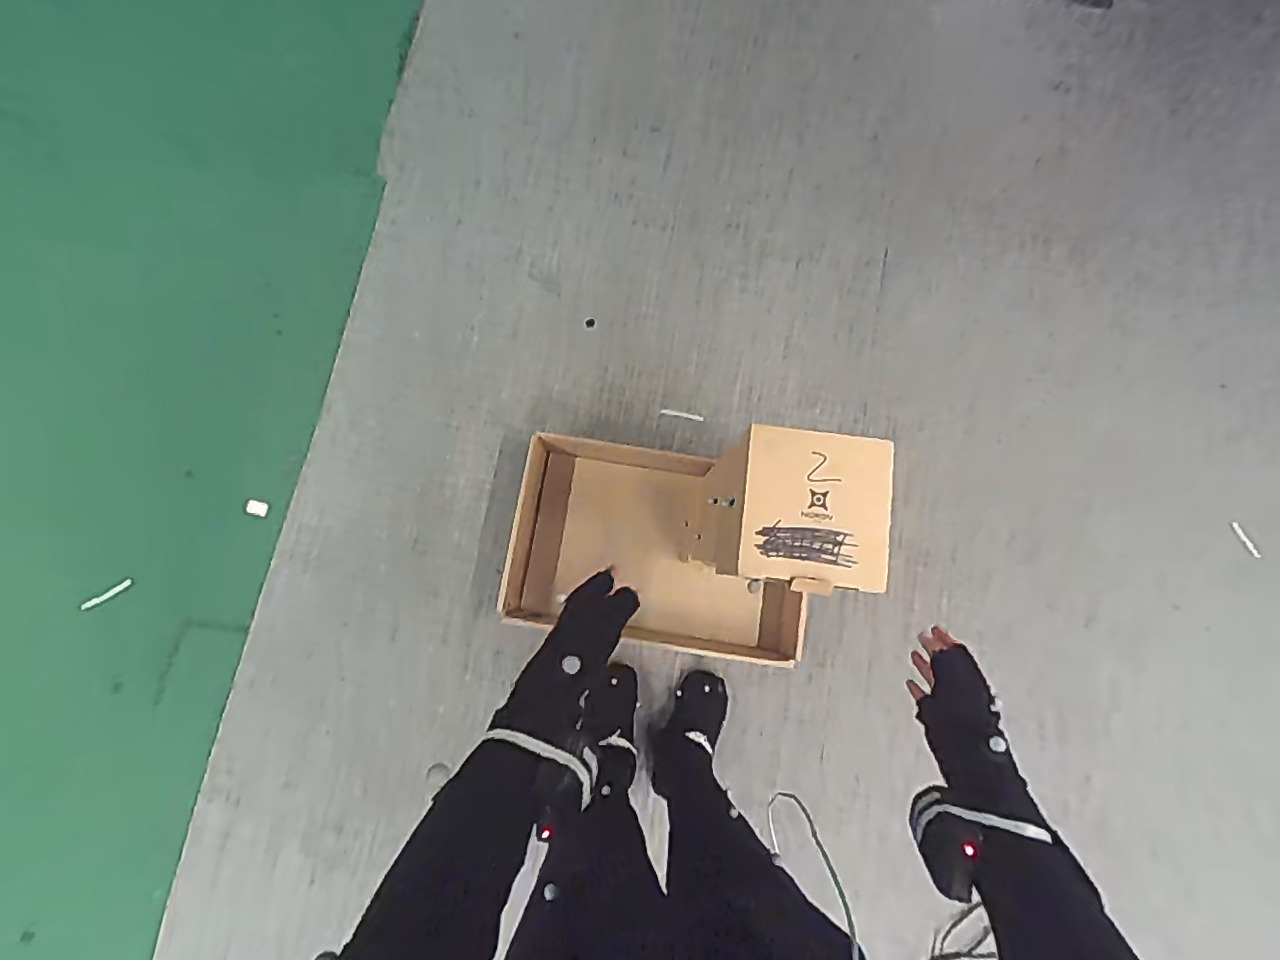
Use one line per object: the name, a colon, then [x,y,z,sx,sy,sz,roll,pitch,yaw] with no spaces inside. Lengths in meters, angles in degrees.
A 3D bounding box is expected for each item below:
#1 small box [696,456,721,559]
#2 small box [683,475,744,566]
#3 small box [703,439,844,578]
small box: [0.199,0.066,0.992,0.168,0.176,0.179,9,81,1]
small box: [0.184,0.094,1.171,0.168,0.176,0.179,4,80,2]
small box: [0.198,0.050,0.845,0.168,0.176,0.179,10,81,0]
